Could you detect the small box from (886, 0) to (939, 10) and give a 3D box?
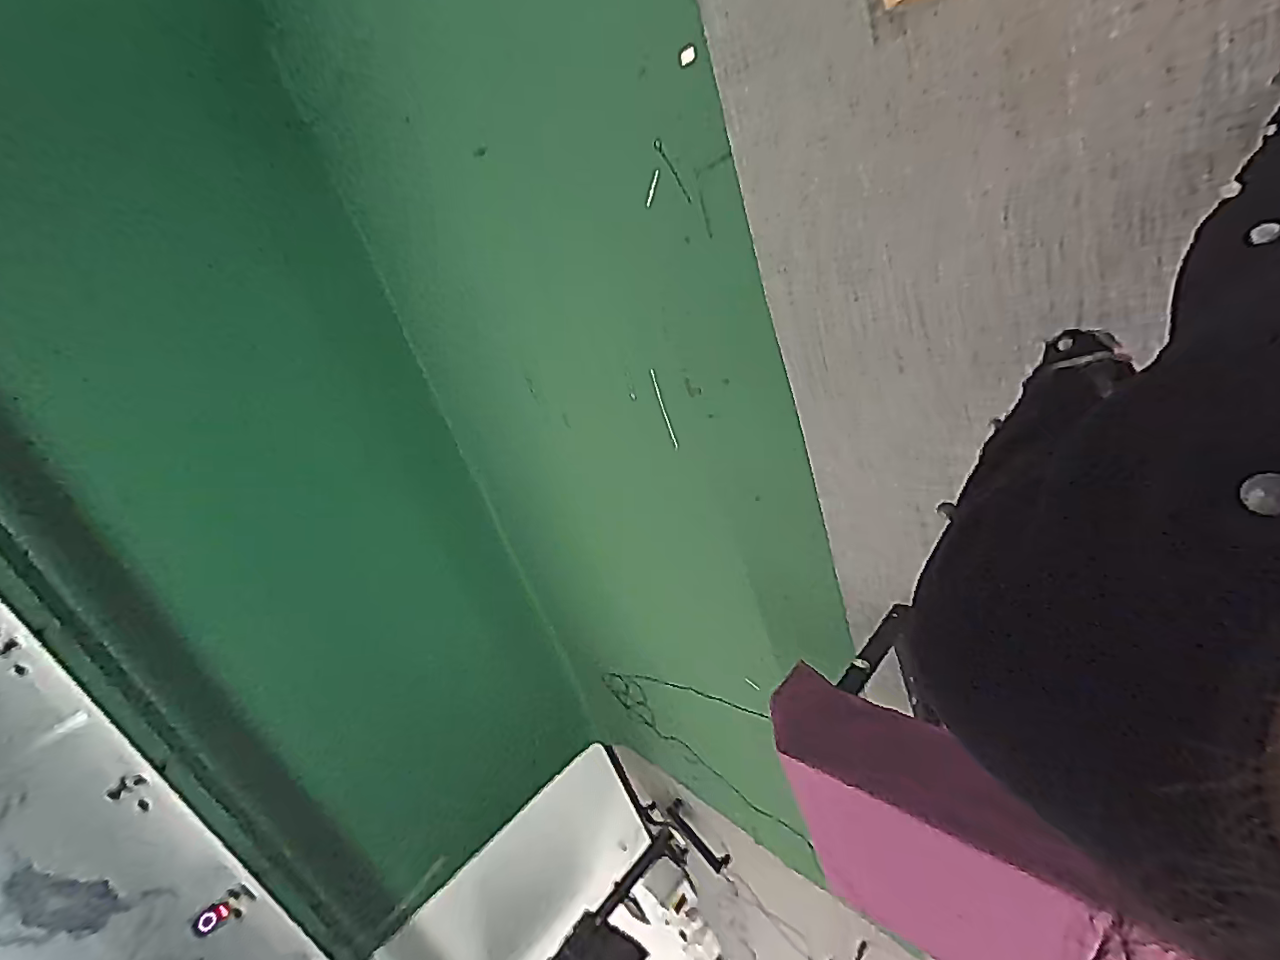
[{"bbox_3d":[0.560,-1.010,0.991,0.179,0.176,0.168,4,120,51],"label":"small box"}]
